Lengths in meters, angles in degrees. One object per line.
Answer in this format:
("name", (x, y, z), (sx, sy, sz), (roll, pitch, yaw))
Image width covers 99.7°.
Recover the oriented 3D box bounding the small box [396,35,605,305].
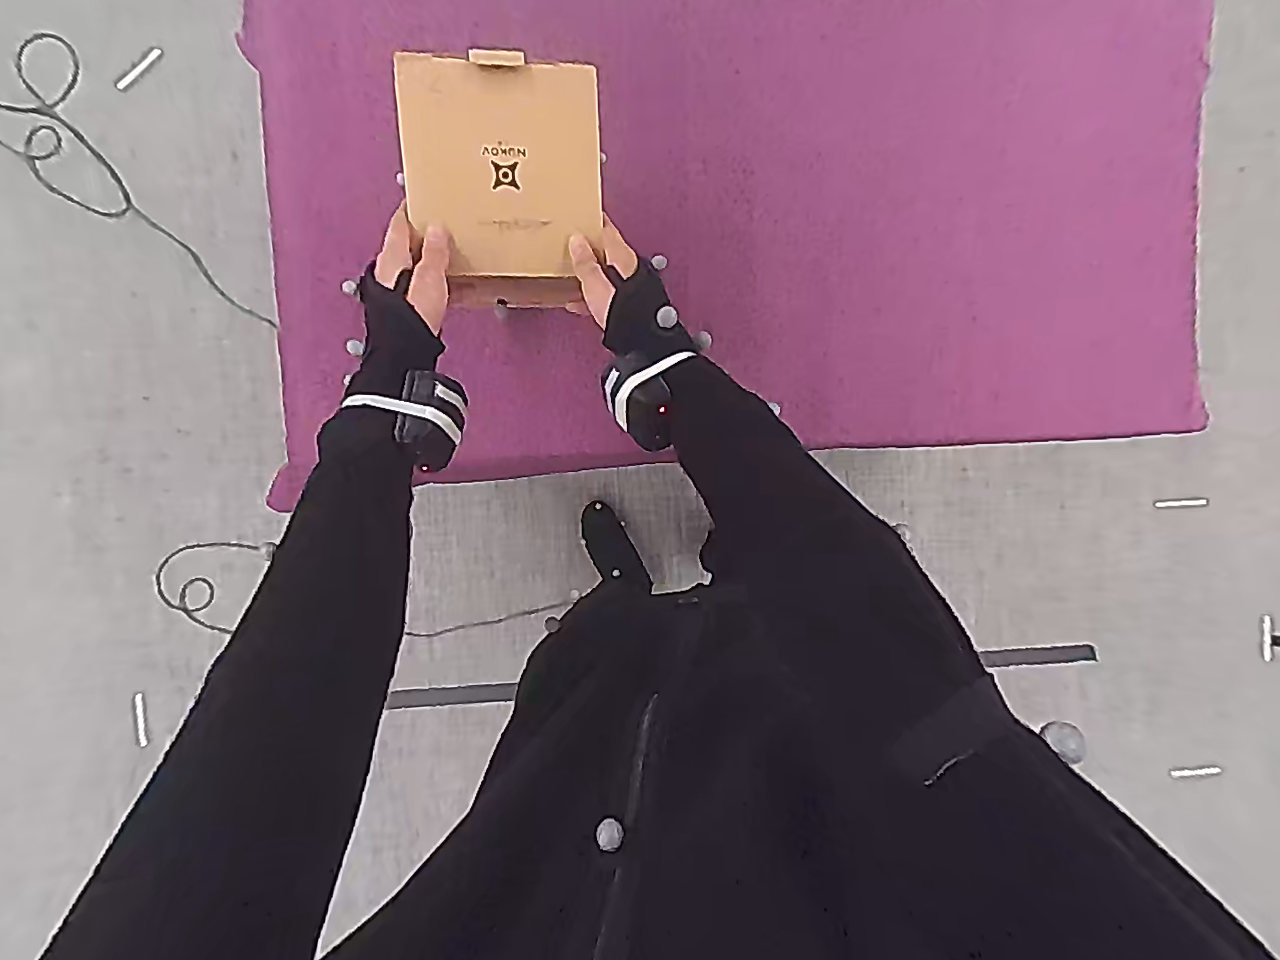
("small box", (-0.126, -0.276, 0.525), (0.168, 0.176, 0.179), (-3, 99, -10))
